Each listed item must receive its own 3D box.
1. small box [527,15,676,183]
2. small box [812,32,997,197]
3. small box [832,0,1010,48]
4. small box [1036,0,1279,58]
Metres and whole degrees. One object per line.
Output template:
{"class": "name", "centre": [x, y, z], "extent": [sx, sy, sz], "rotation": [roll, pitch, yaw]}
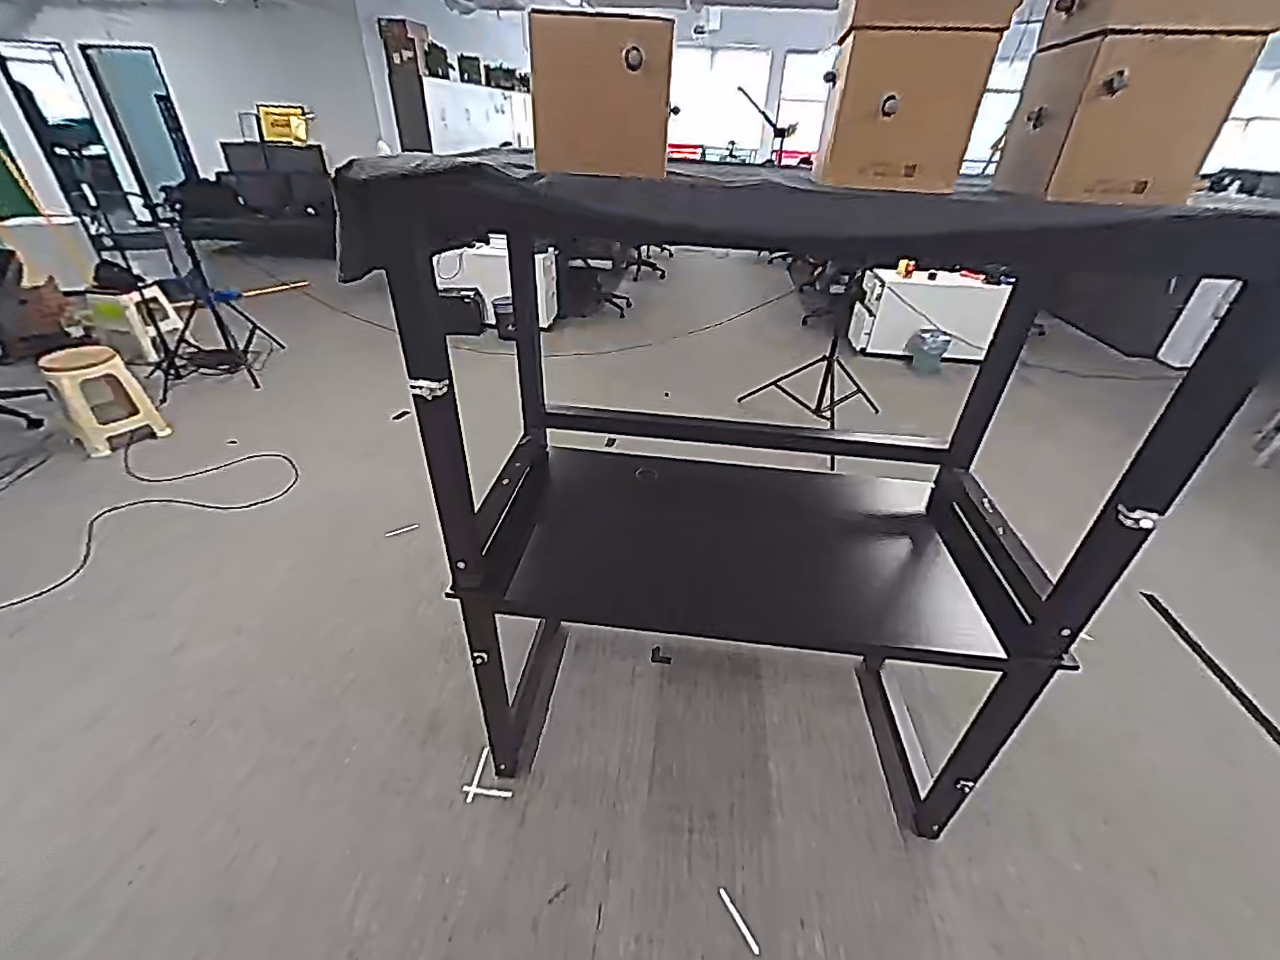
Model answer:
{"class": "small box", "centre": [-0.046, -0.508, 0.739], "extent": [0.179, 0.176, 0.168], "rotation": [3, 31, 1]}
{"class": "small box", "centre": [0.337, -0.484, 0.731], "extent": [0.168, 0.176, 0.179], "rotation": [7, 32, 7]}
{"class": "small box", "centre": [0.340, -0.618, 0.635], "extent": [0.179, 0.176, 0.168], "rotation": [6, 31, 8]}
{"class": "small box", "centre": [0.597, -0.586, 0.602], "extent": [0.179, 0.176, 0.168], "rotation": [5, 31, 6]}
